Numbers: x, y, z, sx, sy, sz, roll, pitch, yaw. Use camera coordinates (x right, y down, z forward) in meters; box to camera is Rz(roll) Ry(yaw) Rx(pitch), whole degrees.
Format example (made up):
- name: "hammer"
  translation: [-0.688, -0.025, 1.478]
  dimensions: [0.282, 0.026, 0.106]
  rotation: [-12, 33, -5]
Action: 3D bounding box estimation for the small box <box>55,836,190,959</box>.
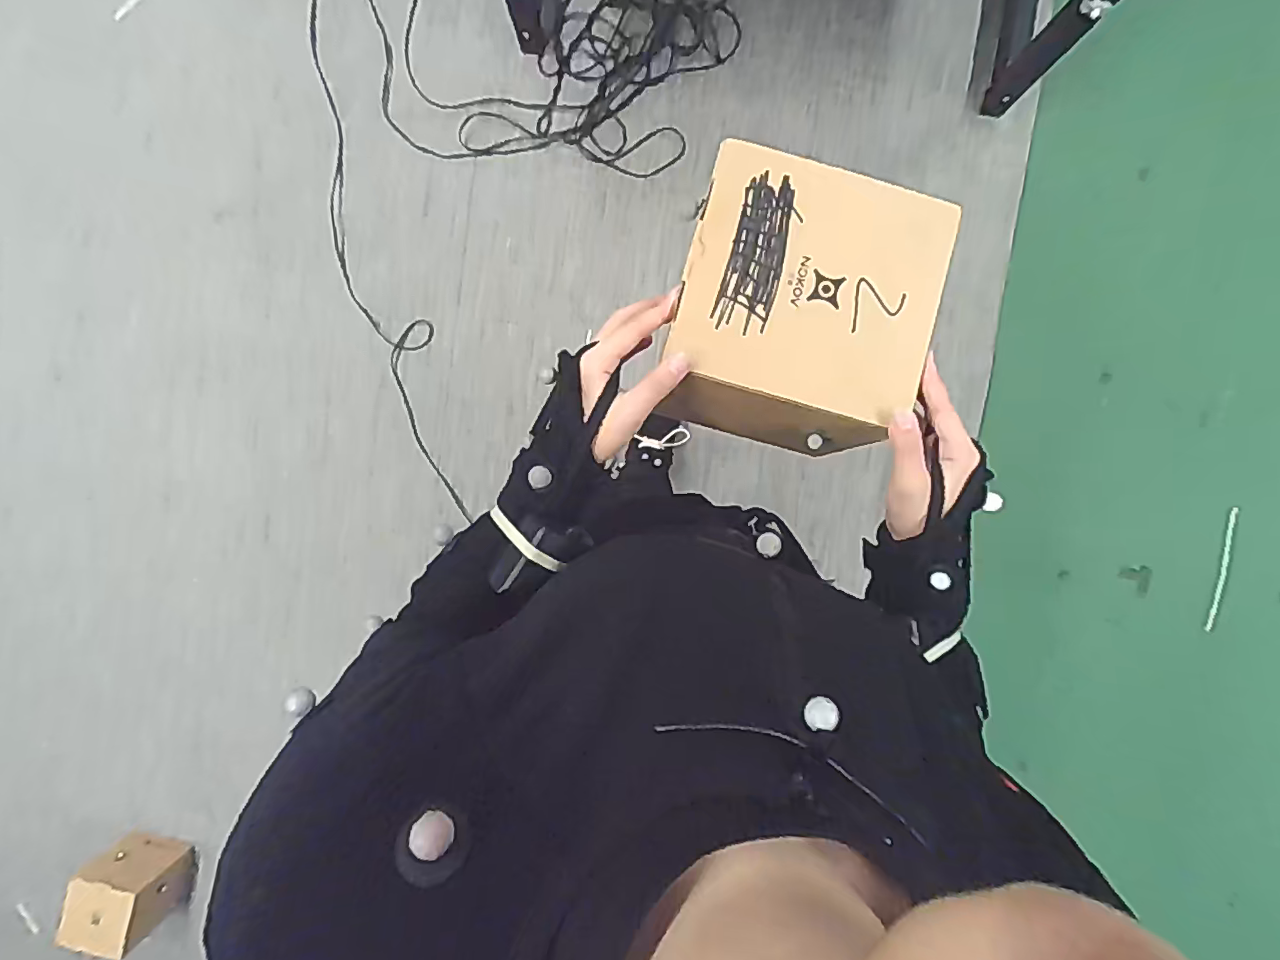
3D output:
- name: "small box"
  translation: [-1.284, 1.040, 1.354]
  dimensions: [0.168, 0.176, 0.179]
  rotation: [14, 94, 2]
